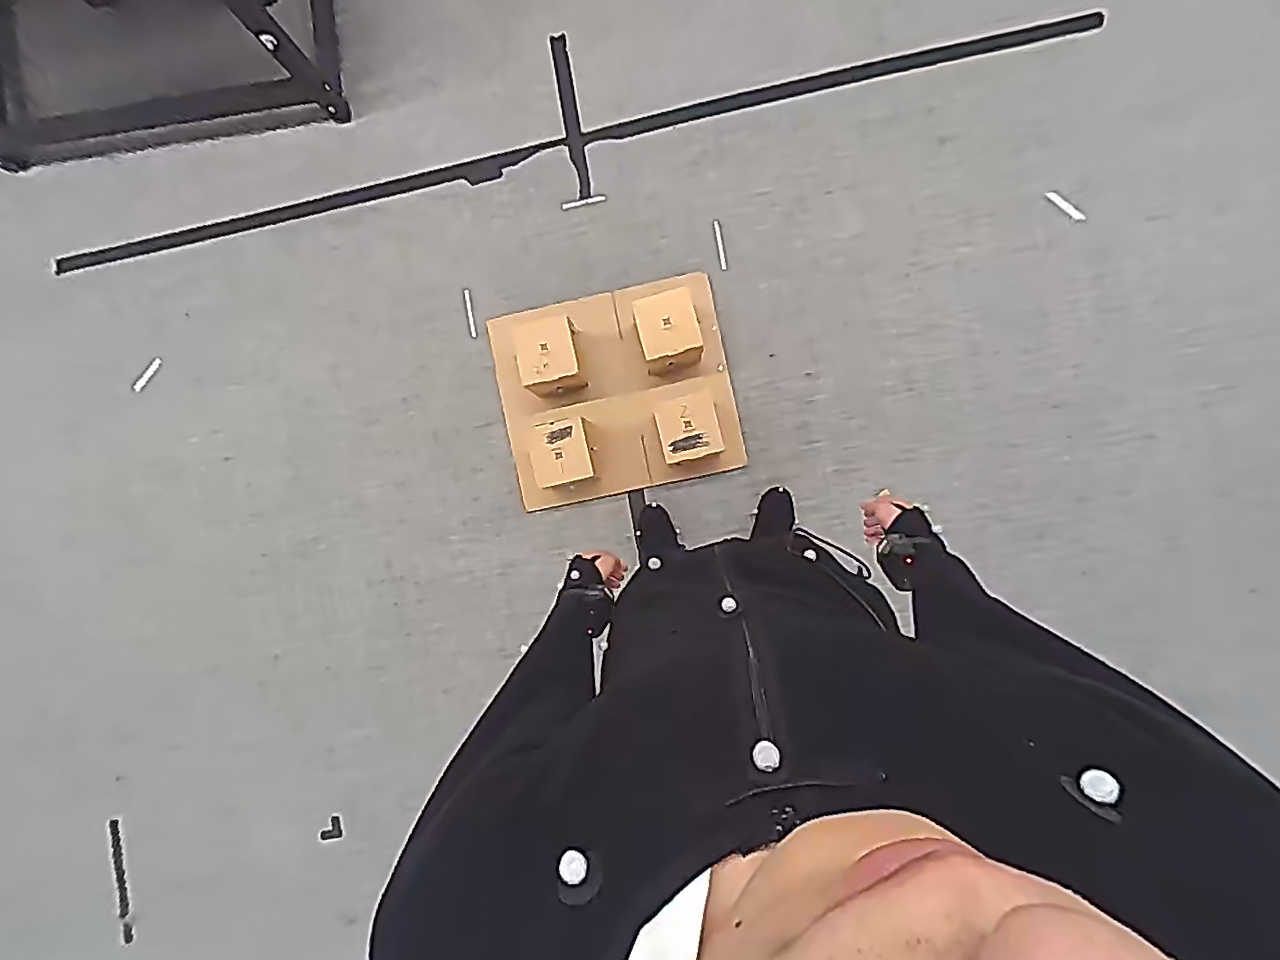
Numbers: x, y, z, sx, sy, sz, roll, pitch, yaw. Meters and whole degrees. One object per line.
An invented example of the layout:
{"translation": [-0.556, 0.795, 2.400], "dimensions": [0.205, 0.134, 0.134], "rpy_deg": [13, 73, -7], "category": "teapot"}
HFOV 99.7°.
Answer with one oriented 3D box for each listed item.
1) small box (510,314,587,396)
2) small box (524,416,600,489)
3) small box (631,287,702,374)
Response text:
{"translation": [-0.261, -0.357, 1.575], "dimensions": [0.168, 0.176, 0.179], "rpy_deg": [-12, 89, 4], "category": "small box"}
{"translation": [-0.221, -0.074, 1.570], "dimensions": [0.168, 0.176, 0.179], "rpy_deg": [-13, 90, 4], "category": "small box"}
{"translation": [0.075, -0.425, 1.562], "dimensions": [0.168, 0.176, 0.179], "rpy_deg": [-16, 88, 3], "category": "small box"}
